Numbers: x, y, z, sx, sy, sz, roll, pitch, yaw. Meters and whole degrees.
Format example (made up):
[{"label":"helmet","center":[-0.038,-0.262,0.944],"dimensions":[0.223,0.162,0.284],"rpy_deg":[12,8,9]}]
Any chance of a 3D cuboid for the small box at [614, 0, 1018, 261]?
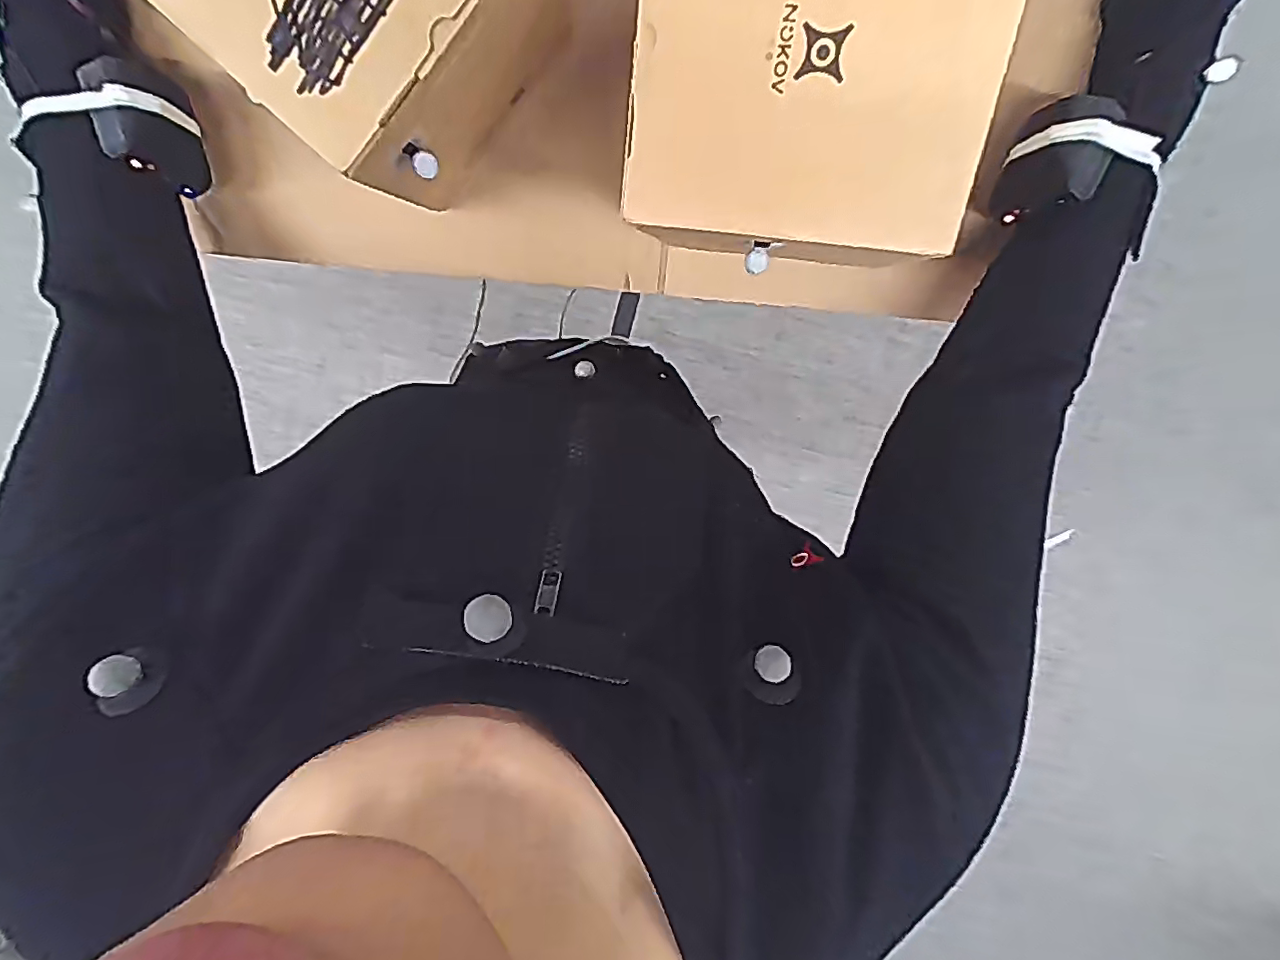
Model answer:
[{"label":"small box","center":[0.096,-0.234,0.333],"dimensions":[0.179,0.176,0.168],"rpy_deg":[11,111,9]}]
